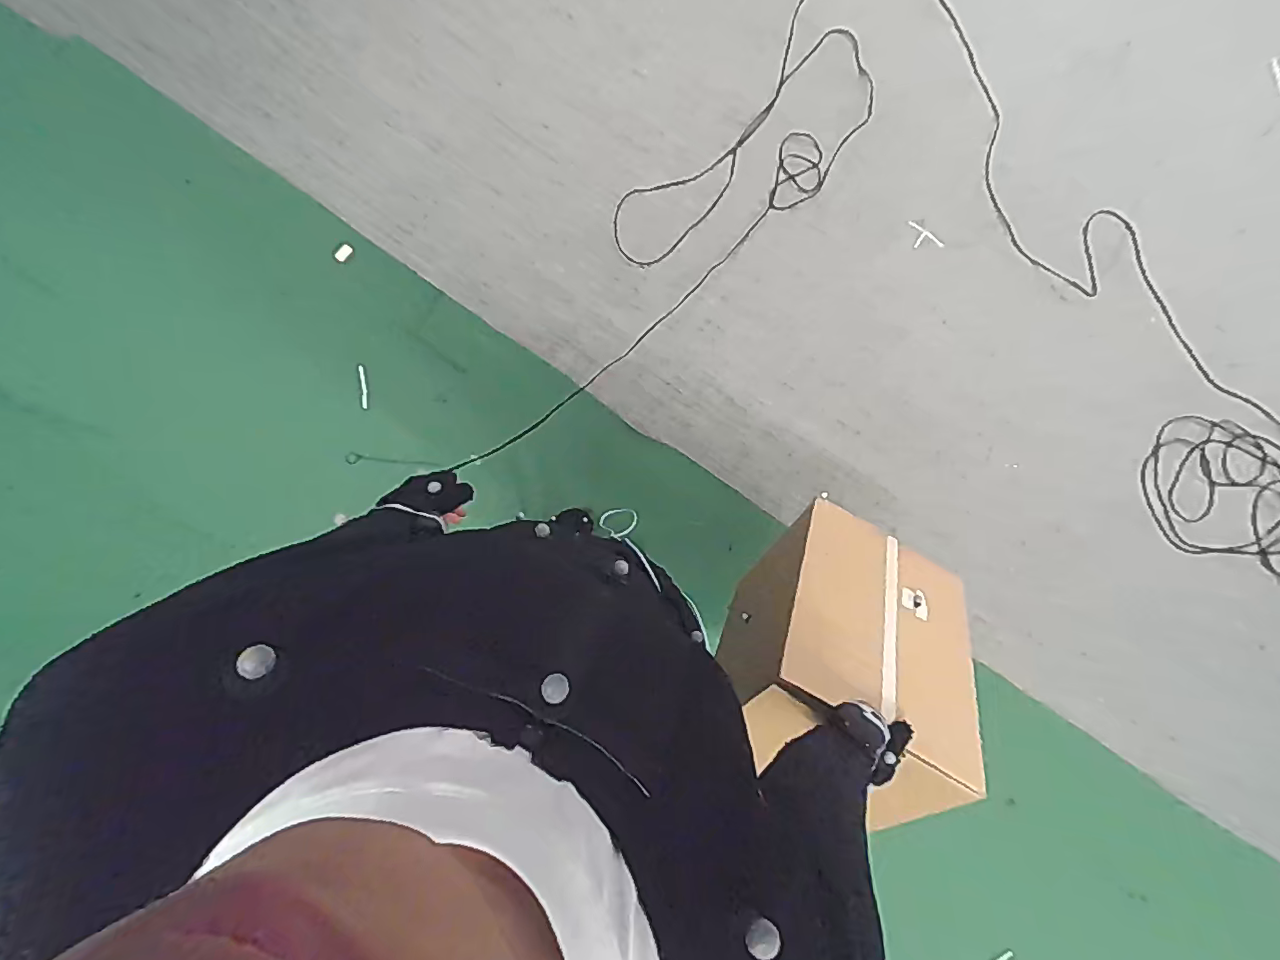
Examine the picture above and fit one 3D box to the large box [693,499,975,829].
[{"bbox_3d":[0.336,0.320,0.975,0.320,0.320,0.408,31,43,1],"label":"large box"}]
